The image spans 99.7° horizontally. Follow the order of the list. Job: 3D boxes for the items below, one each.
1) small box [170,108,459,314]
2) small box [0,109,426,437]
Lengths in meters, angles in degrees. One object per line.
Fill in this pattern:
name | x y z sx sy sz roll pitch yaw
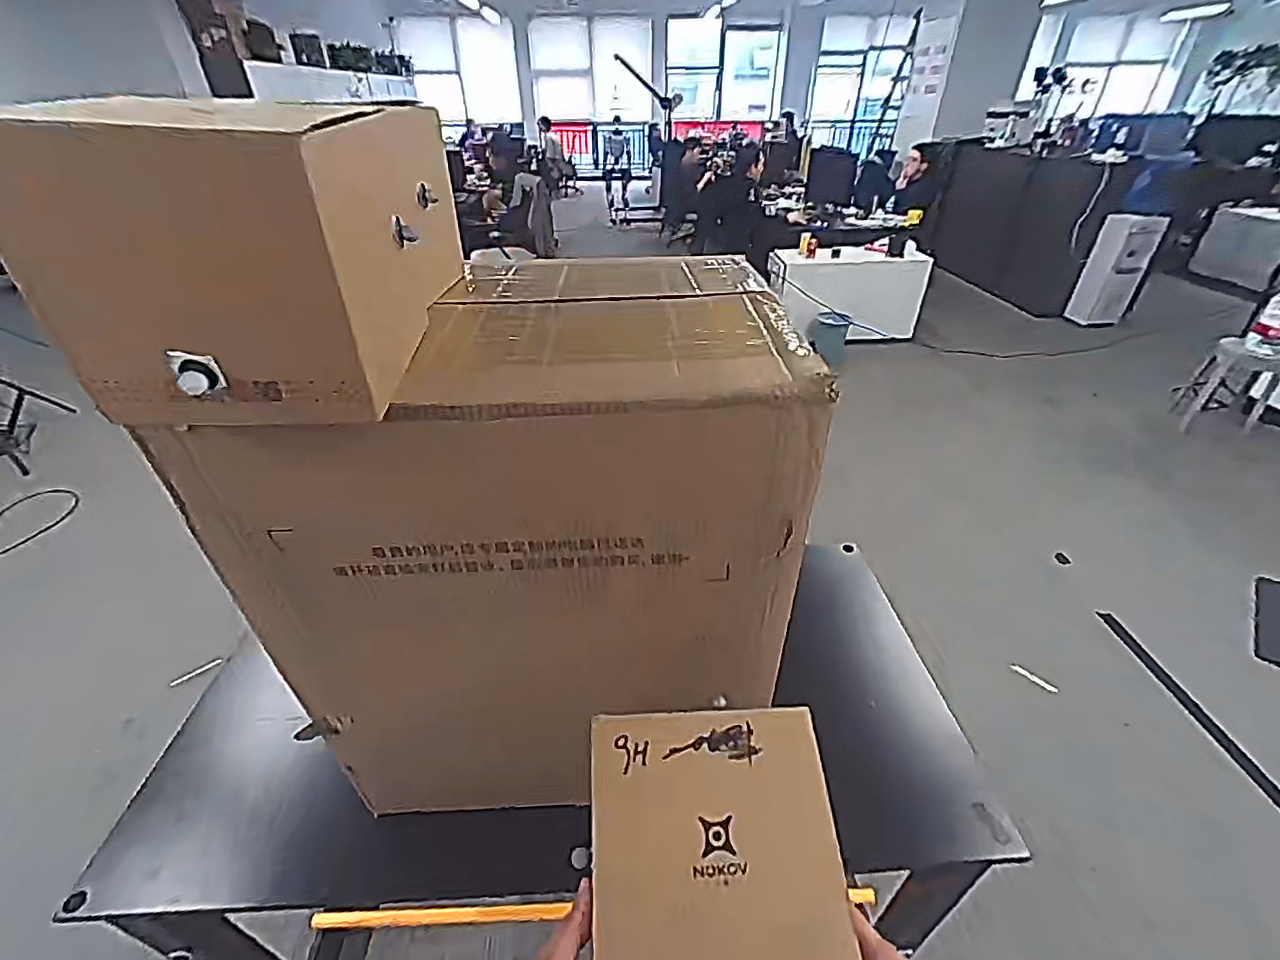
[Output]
small box | -0.288 -0.258 0.527 0.168 0.176 0.179 0 35 0
small box | -0.258 -0.145 0.374 0.168 0.176 0.179 -3 39 -7
